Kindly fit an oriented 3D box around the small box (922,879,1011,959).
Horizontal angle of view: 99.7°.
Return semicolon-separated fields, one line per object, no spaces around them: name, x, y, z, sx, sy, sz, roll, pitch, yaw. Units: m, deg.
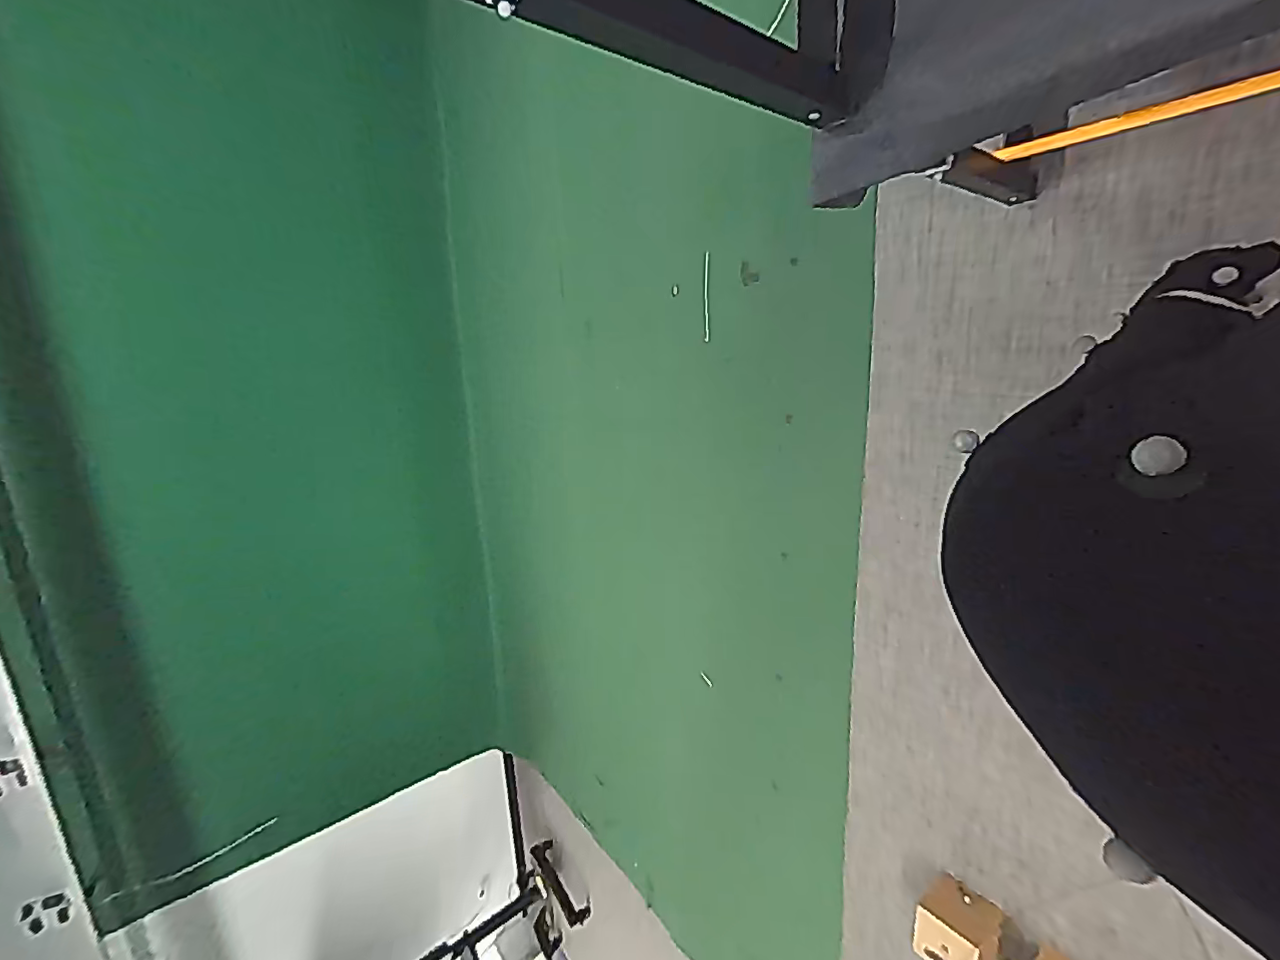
small box;0.935;1.311;1.547;0.168;0.176;0.179;13;109;51
